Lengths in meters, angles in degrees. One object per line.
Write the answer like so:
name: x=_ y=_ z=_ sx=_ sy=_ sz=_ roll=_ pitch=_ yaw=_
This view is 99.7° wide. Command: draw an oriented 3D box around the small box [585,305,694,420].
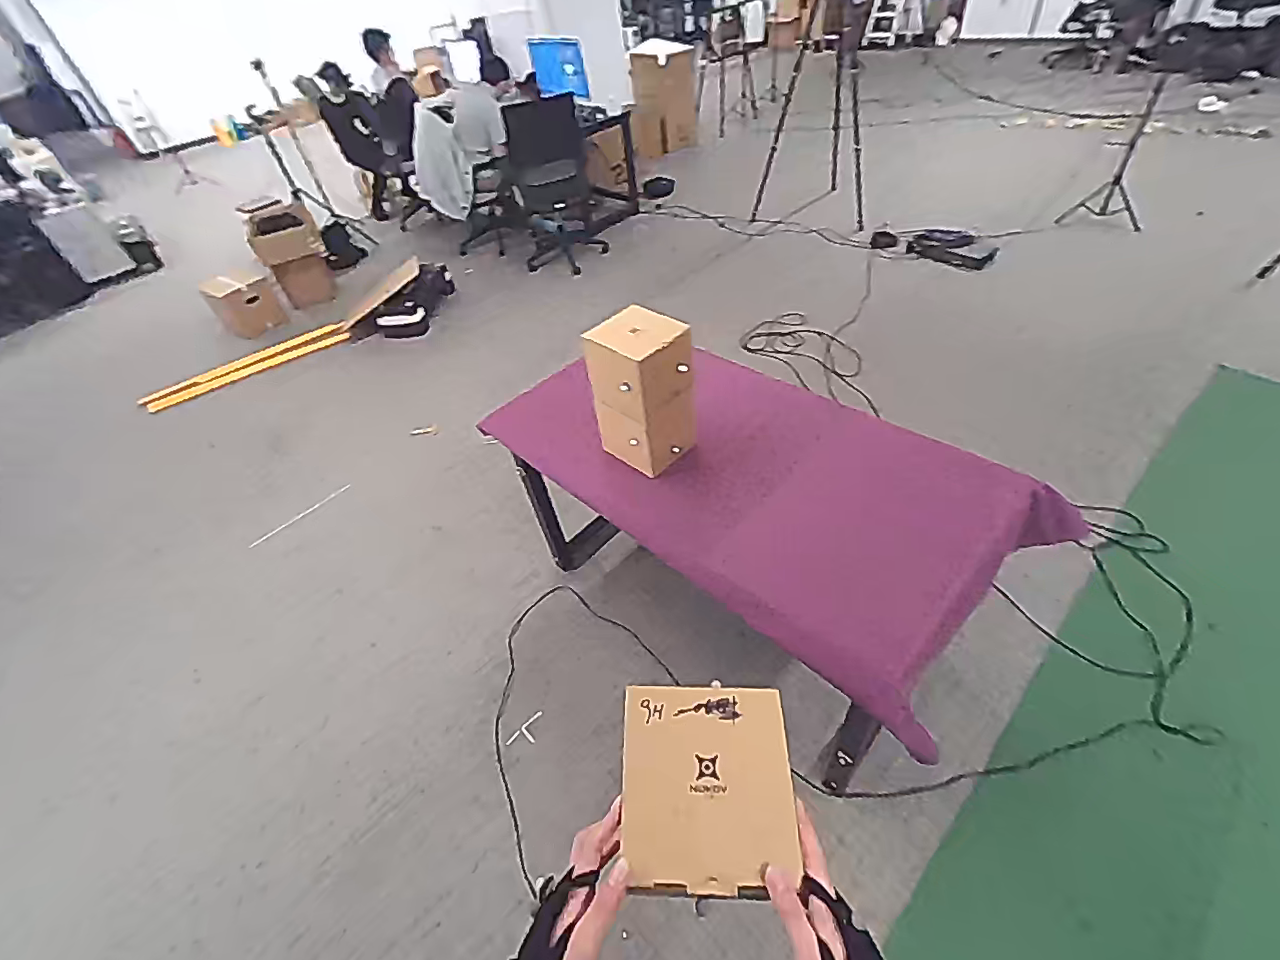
small box: x=0.006 y=-0.258 z=1.200 sx=0.168 sy=0.176 sz=0.179 roll=-38 pitch=52 yaw=-26

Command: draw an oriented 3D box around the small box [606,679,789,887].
small box: x=0.055 y=0.333 z=0.590 sx=0.168 sy=0.176 sz=0.179 roll=1 pitch=51 yaw=1
